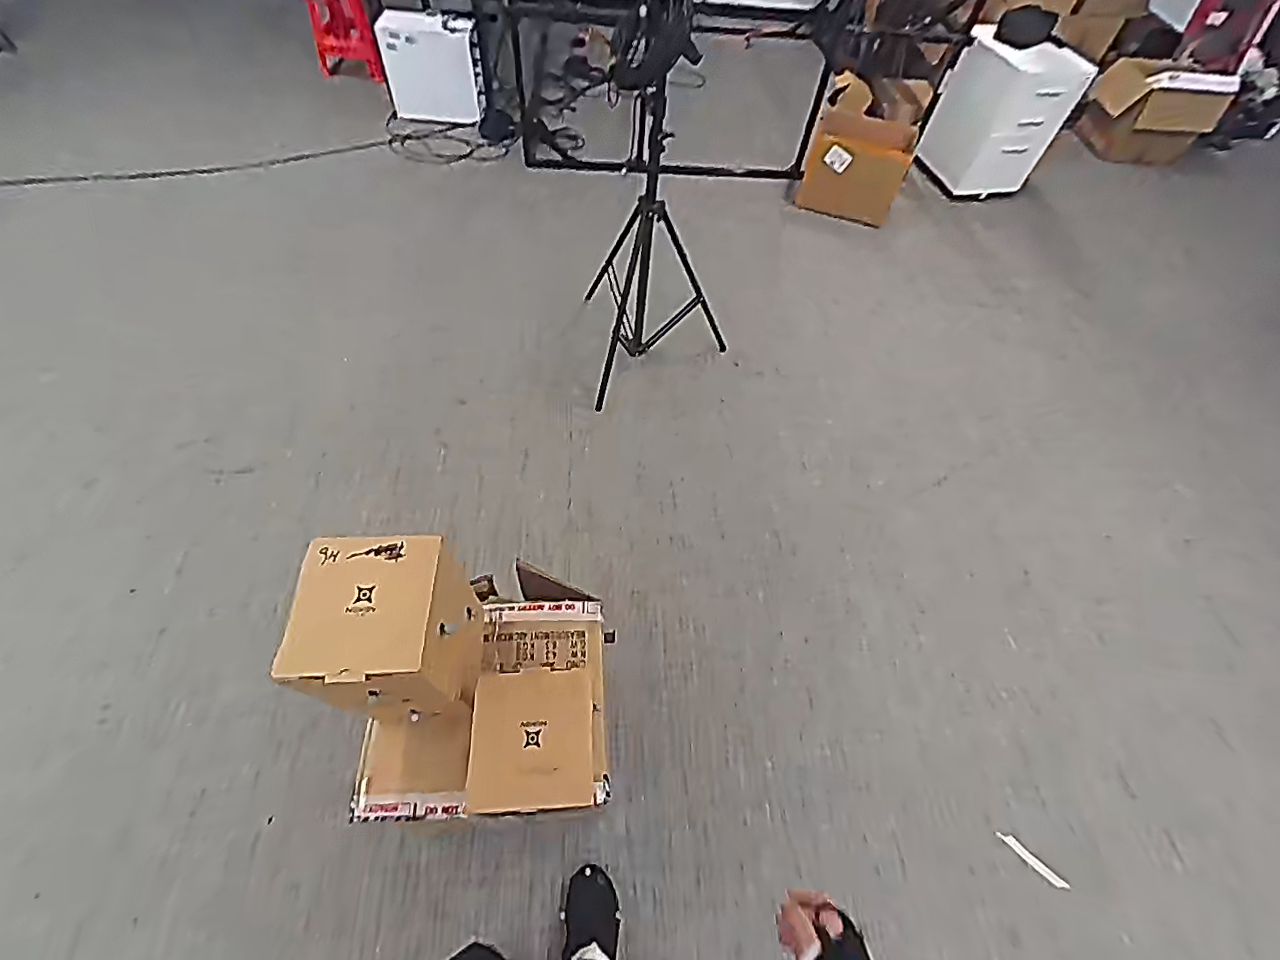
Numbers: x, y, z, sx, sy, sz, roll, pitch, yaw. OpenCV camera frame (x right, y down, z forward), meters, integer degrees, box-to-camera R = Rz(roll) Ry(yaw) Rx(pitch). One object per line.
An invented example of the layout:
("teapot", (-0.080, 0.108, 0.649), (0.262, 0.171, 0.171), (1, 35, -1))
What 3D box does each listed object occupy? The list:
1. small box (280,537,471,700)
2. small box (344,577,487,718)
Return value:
("small box", (-0.332, 0.191, 0.721), (0.168, 0.176, 0.179), (-1, 59, -4))
("small box", (-0.346, 0.270, 0.865), (0.168, 0.176, 0.179), (-3, 59, -4))
